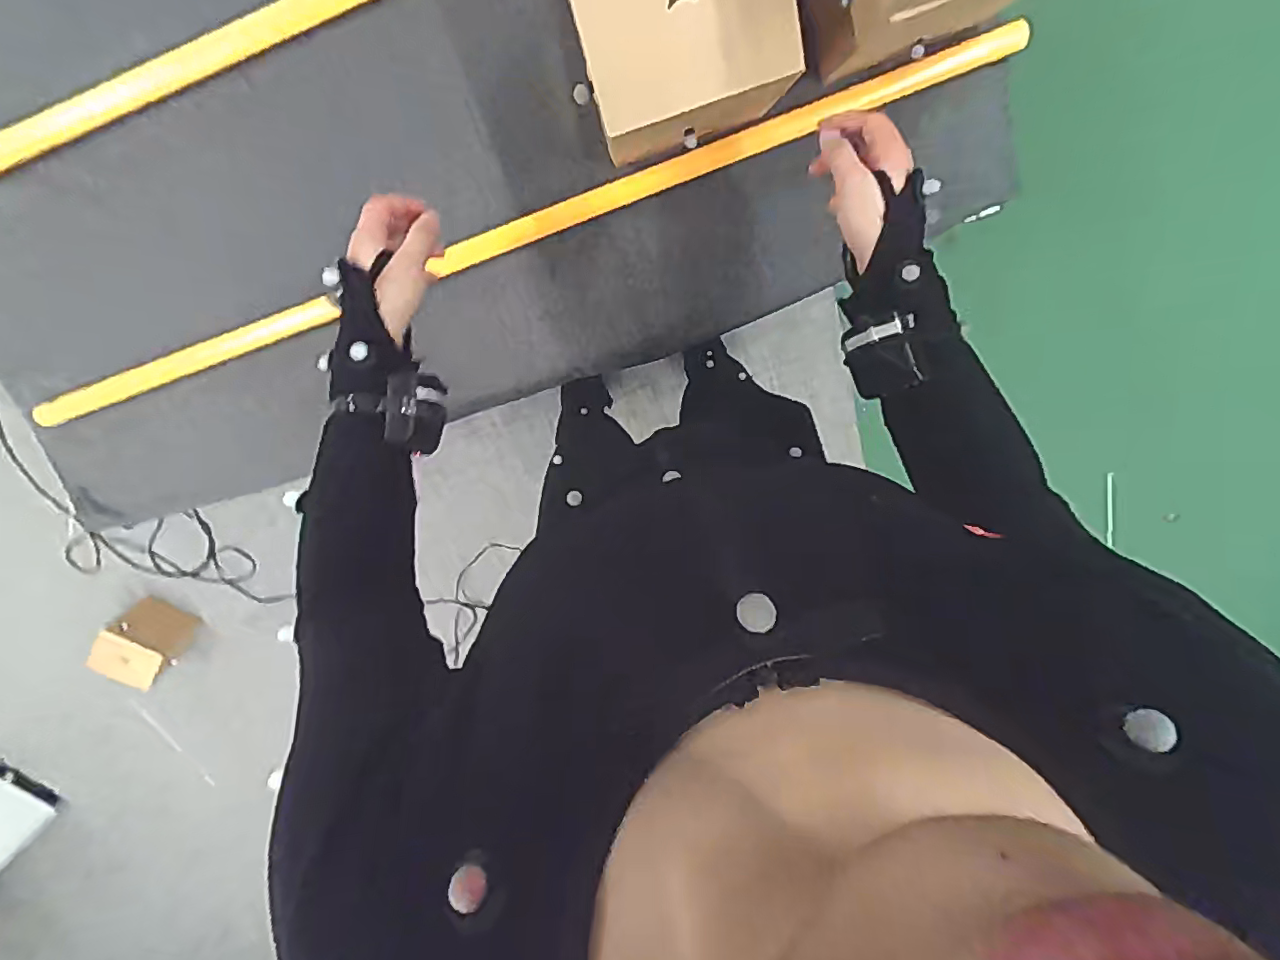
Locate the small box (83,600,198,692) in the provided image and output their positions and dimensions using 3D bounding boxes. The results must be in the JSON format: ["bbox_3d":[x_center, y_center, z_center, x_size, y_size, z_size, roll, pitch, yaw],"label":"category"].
[{"bbox_3d":[-1.493,0.492,1.627,0.179,0.176,0.168,33,109,-14],"label":"small box"}]
